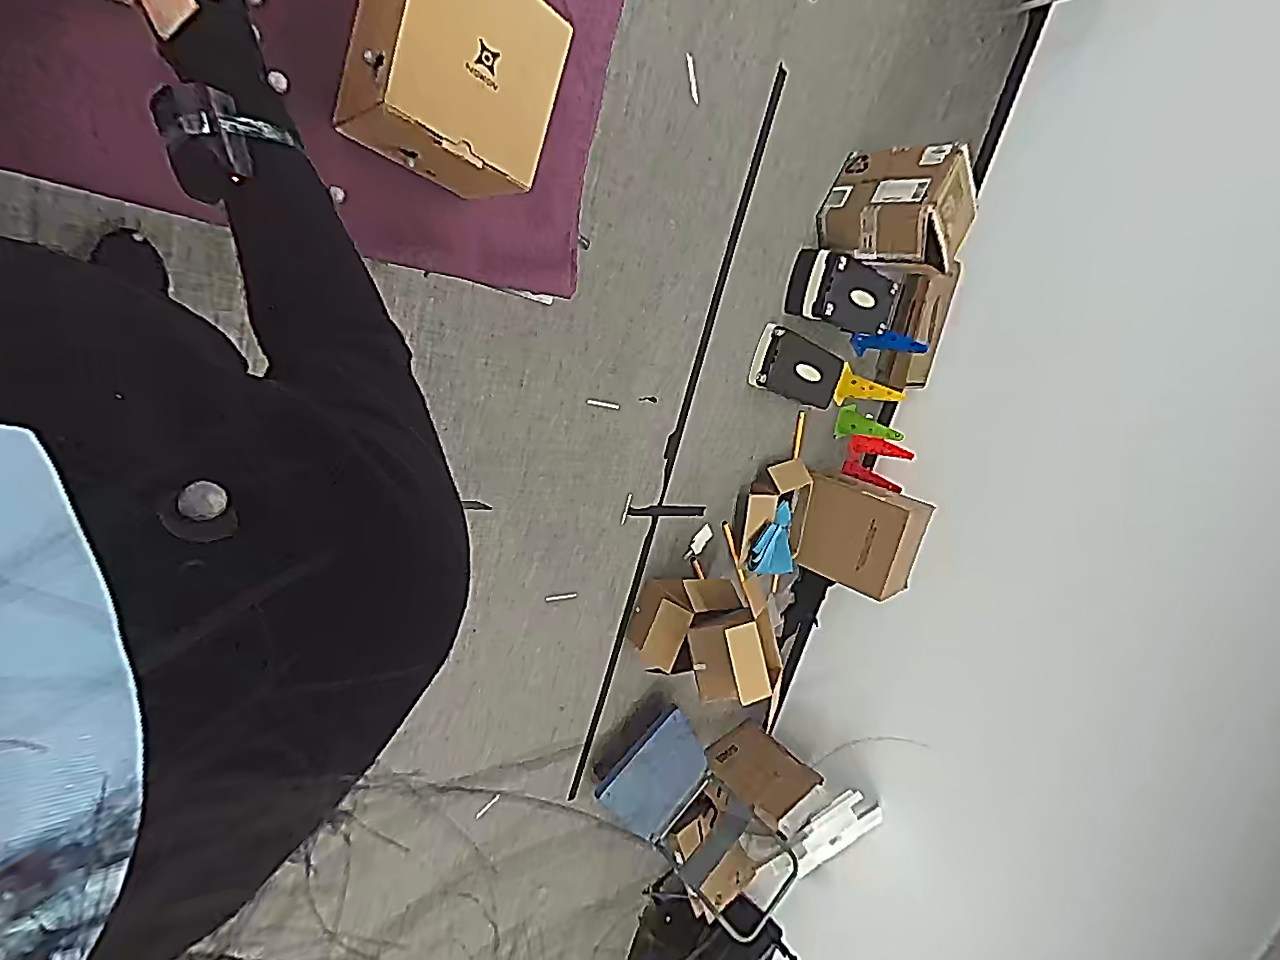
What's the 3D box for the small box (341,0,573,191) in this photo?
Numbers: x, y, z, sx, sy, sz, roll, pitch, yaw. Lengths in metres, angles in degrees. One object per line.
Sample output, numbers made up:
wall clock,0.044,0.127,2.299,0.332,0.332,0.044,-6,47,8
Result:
small box,-0.206,-0.446,0.596,0.168,0.176,0.179,9,103,-46
